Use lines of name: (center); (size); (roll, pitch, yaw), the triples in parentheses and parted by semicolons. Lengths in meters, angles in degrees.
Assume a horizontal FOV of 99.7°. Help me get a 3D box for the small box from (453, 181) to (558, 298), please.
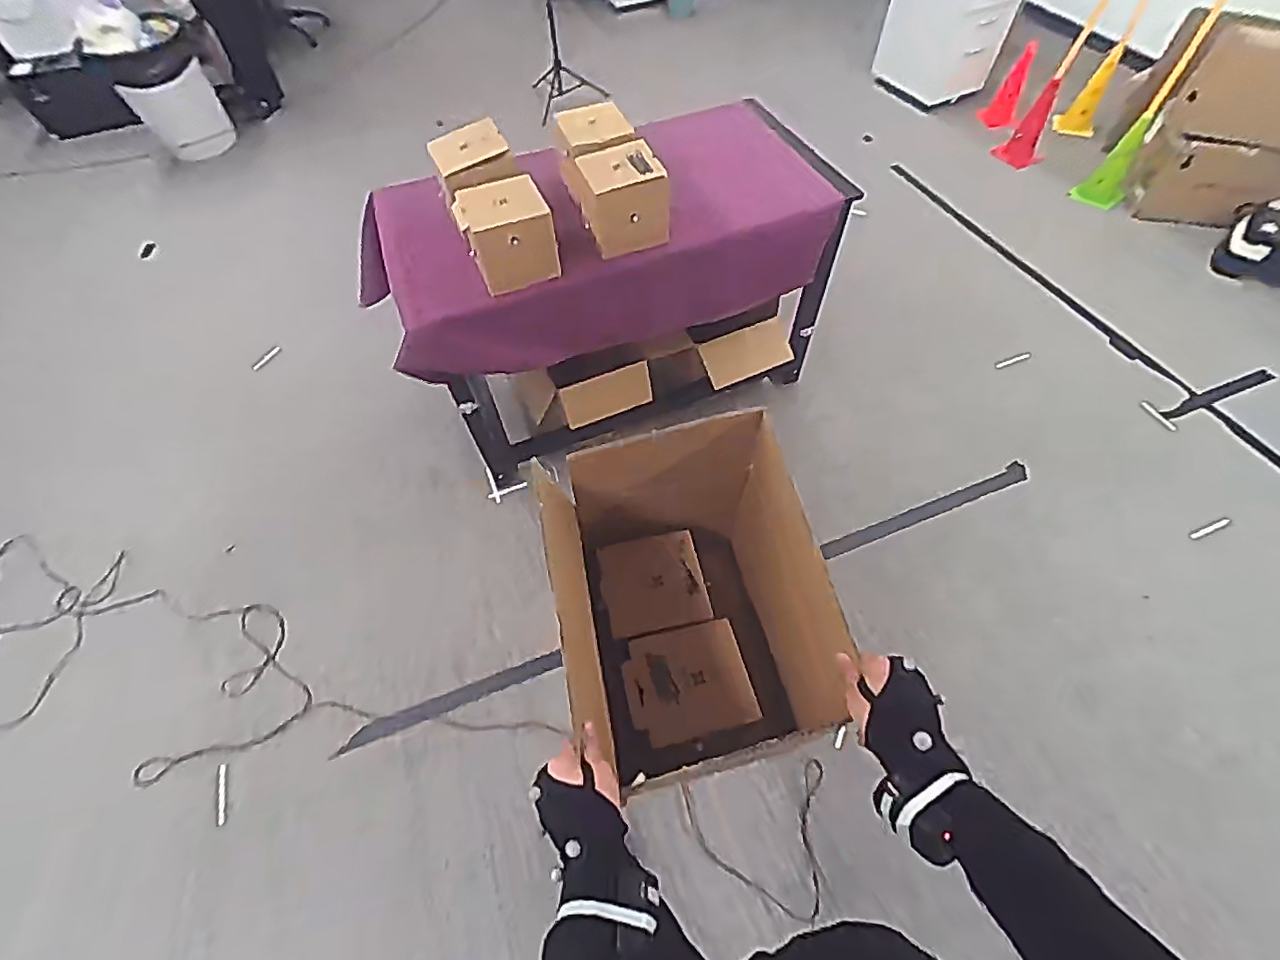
small box: (-0.304, -0.548, 1.243); (0.179, 0.176, 0.168); (-21, 60, -11)

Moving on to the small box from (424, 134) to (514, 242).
small box: (-0.413, -0.729, 1.360); (0.179, 0.176, 0.168); (-23, 60, -13)
